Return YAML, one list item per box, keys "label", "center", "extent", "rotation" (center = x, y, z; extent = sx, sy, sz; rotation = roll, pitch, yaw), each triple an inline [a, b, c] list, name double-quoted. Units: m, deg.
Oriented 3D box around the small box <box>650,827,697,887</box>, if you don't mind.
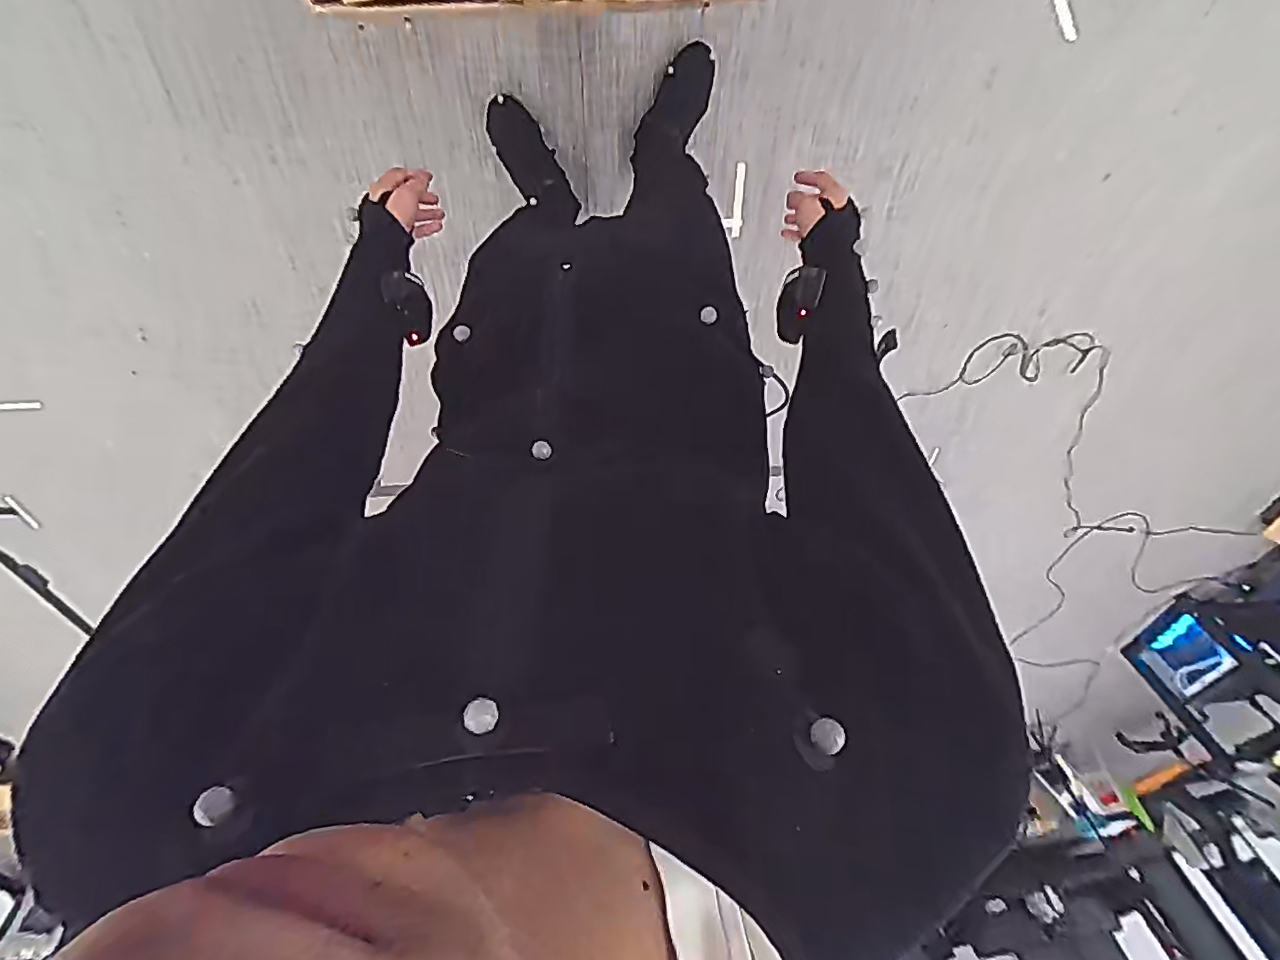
- label: "small box"
  center: [0.134, 1.581, 2.269]
  extent: [0.168, 0.176, 0.179]
  rotation: [-1, 131, -7]
